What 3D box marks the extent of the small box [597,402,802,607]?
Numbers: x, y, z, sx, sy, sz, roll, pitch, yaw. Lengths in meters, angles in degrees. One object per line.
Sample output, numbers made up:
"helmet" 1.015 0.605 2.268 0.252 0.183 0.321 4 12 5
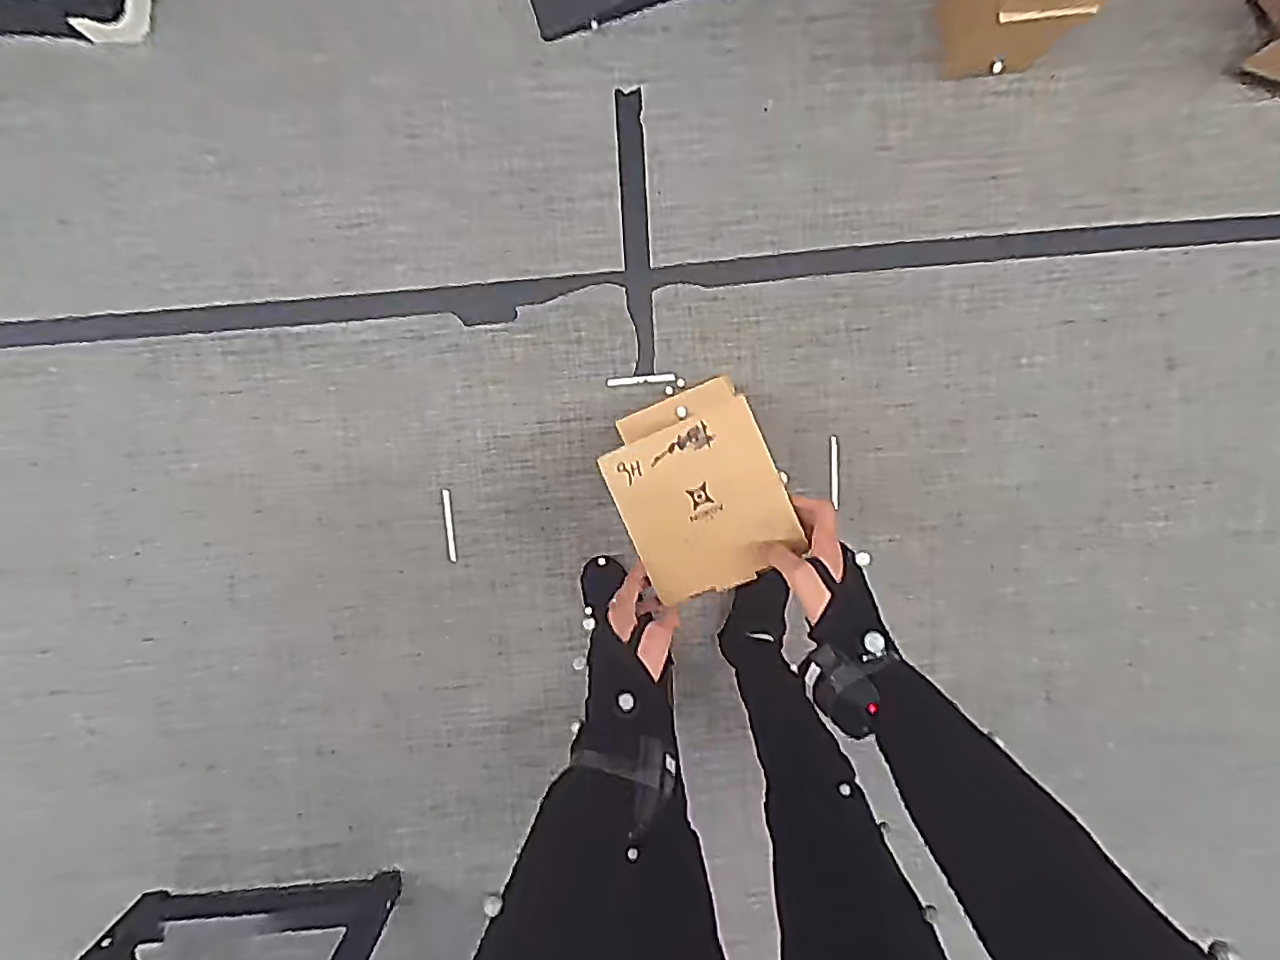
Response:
"small box" 0.070 0.018 0.637 0.168 0.176 0.179 -23 93 8
